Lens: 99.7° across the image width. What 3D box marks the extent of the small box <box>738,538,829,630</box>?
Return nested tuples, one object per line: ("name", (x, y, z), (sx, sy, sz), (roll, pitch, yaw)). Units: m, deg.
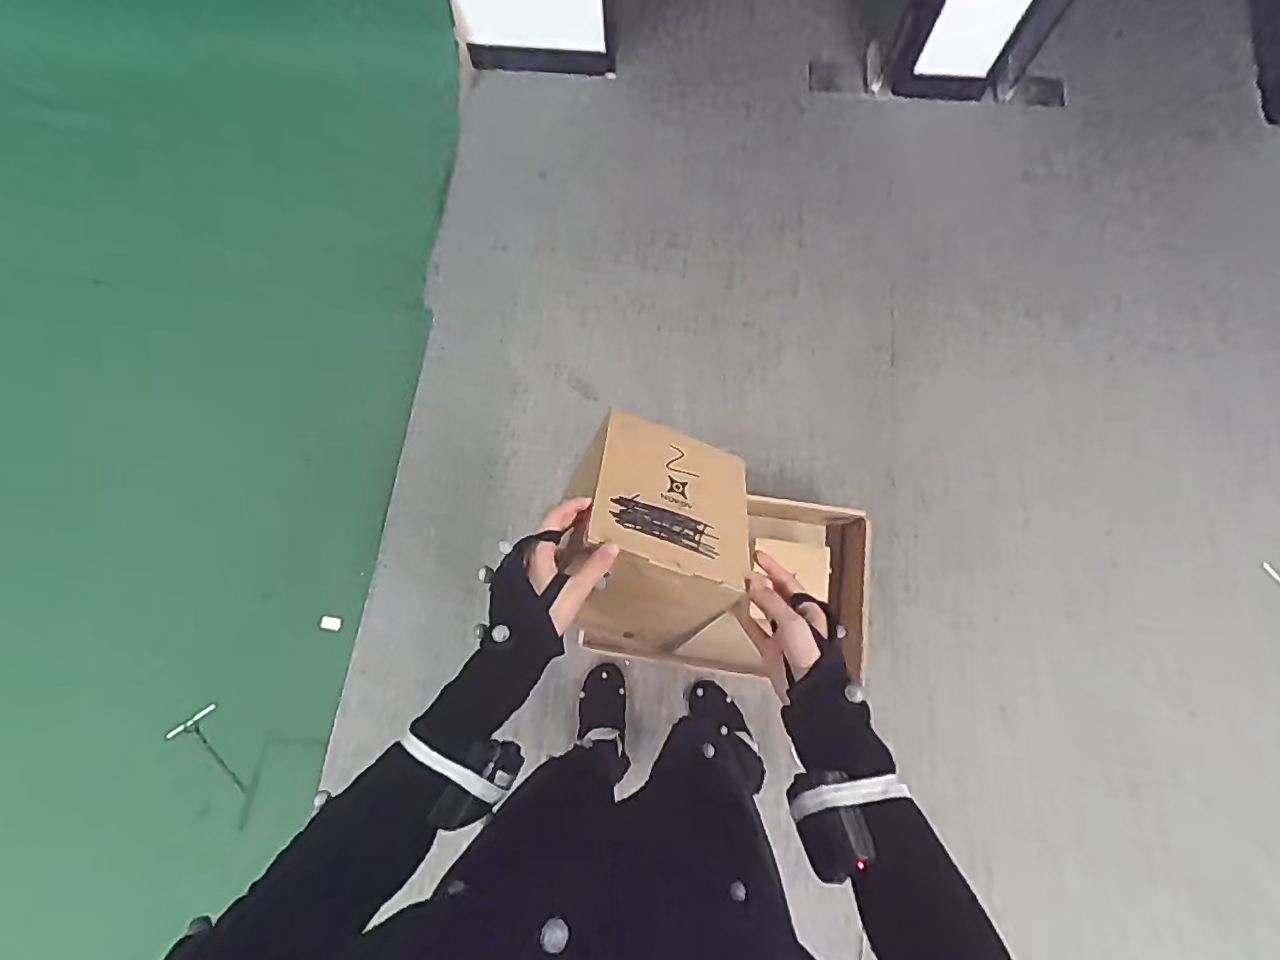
("small box", (0.324, 0.243, 1.243), (0.168, 0.176, 0.179), (8, 76, 4))
